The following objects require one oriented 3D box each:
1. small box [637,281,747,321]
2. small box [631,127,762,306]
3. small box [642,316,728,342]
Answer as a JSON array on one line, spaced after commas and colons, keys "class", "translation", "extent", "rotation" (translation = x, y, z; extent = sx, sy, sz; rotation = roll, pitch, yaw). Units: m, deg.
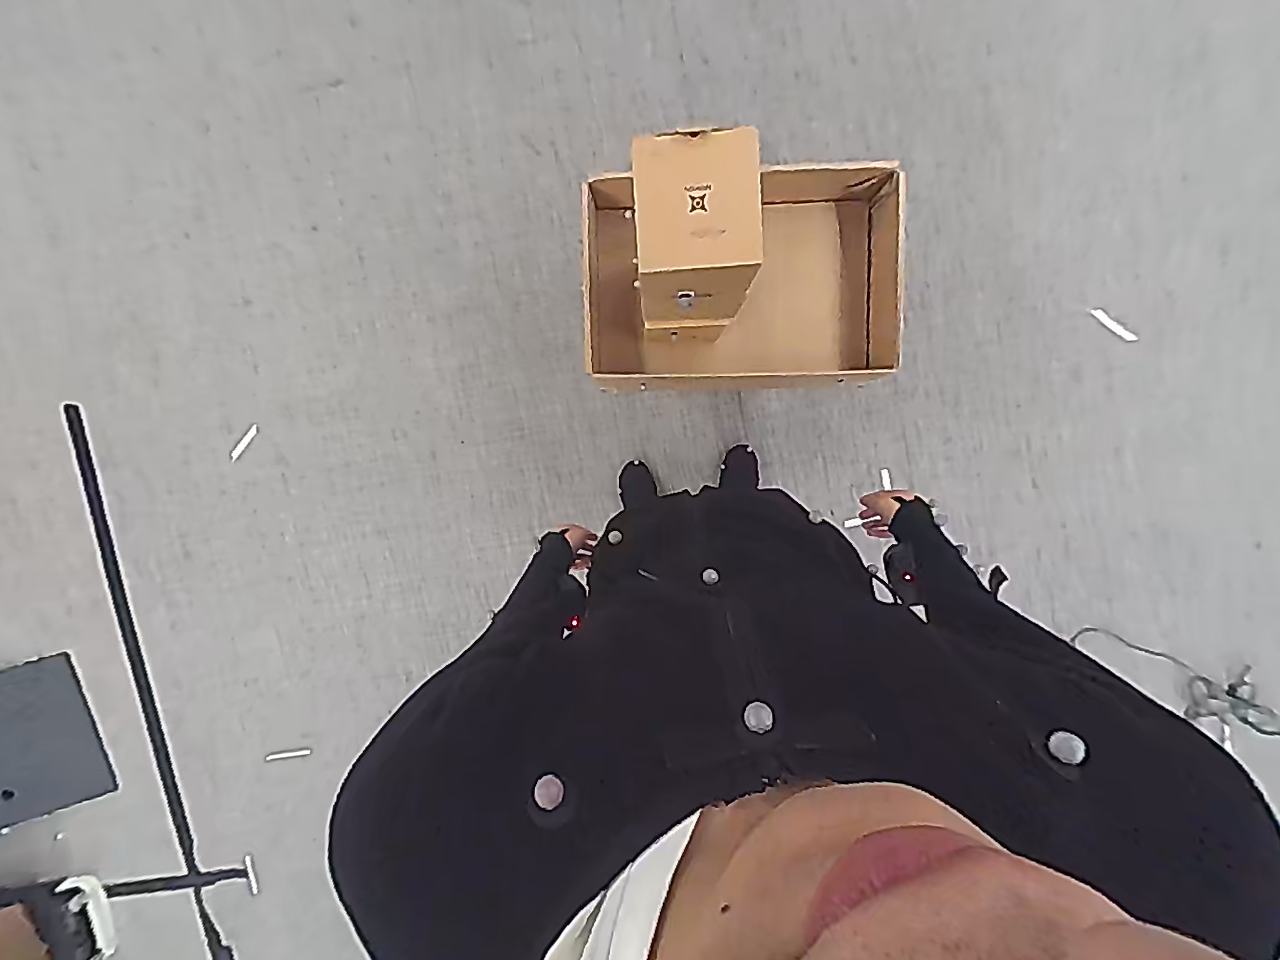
[{"class": "small box", "translation": [0.084, -0.376, 0.935], "extent": [0.179, 0.176, 0.168], "rotation": [-1, 94, 1]}, {"class": "small box", "translation": [0.075, -0.362, 0.772], "extent": [0.168, 0.176, 0.179], "rotation": [-3, 93, 3]}, {"class": "small box", "translation": [0.085, -0.380, 1.099], "extent": [0.168, 0.176, 0.179], "rotation": [-3, 94, 1]}]
